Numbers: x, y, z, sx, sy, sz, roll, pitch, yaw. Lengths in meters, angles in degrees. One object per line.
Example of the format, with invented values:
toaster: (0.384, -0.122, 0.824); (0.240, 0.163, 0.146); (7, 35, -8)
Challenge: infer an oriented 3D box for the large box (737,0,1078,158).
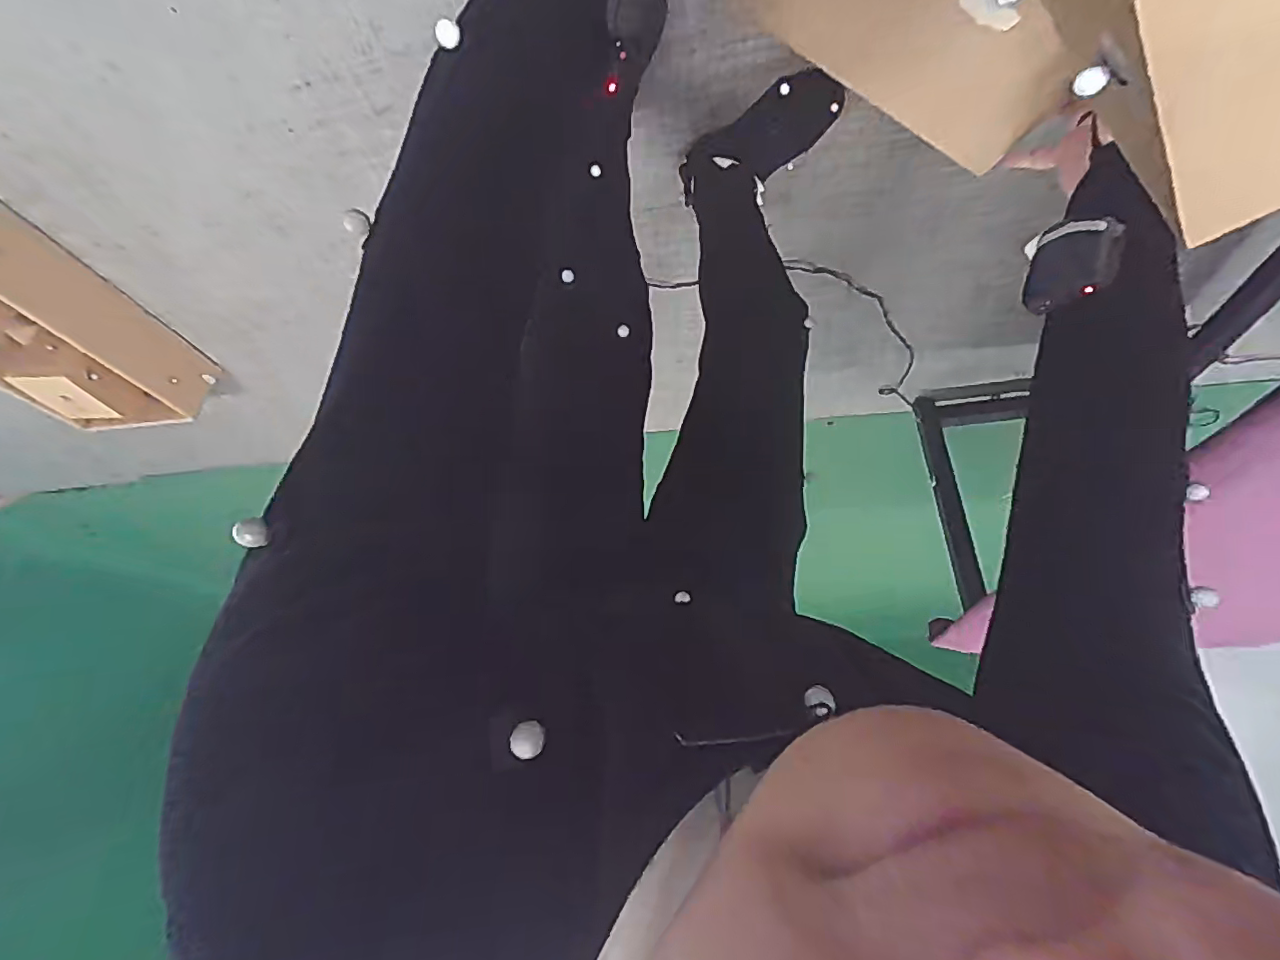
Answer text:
large box: (0.253, -0.568, 0.435); (0.408, 0.320, 0.320); (13, 152, -23)

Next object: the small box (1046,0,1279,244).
small box: (0.255, -0.236, 0.191); (0.179, 0.176, 0.168); (24, 145, -38)

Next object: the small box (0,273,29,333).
small box: (-1.526, -0.401, 1.175); (0.168, 0.176, 0.179); (-6, 151, 15)
